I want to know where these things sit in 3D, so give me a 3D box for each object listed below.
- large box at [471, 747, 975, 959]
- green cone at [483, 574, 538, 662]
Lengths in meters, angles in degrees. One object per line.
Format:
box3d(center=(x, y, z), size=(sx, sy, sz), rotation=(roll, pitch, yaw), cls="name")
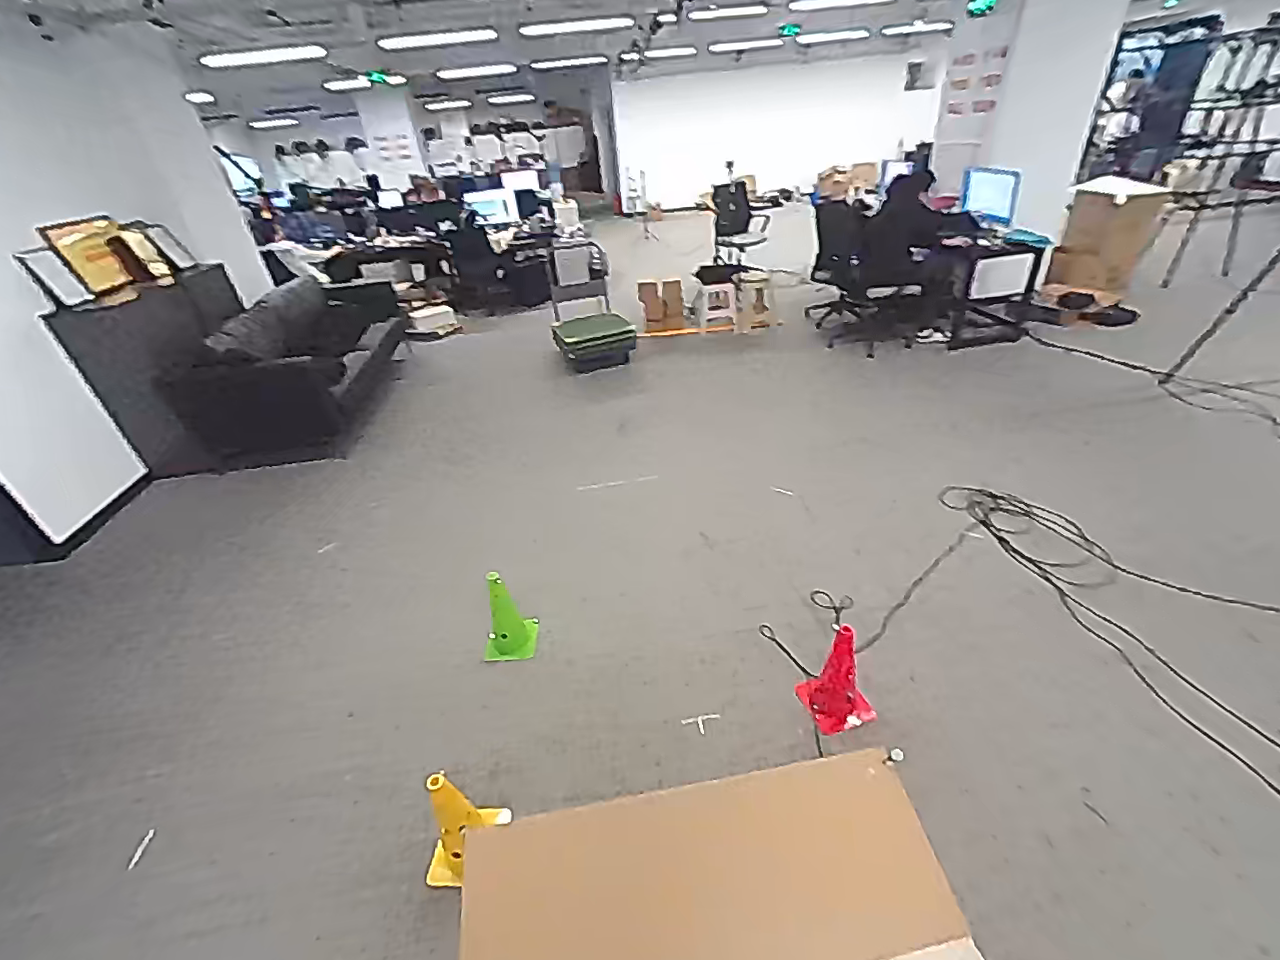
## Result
box3d(center=(0.069, 0.504, 0.520), size=(0.408, 0.320, 0.320), rotation=(-7, 48, -8), cls="large box")
box3d(center=(-0.538, 0.505, 2.088), size=(0.200, 0.368, 0.202), rotation=(-5, 34, 2), cls="green cone")
